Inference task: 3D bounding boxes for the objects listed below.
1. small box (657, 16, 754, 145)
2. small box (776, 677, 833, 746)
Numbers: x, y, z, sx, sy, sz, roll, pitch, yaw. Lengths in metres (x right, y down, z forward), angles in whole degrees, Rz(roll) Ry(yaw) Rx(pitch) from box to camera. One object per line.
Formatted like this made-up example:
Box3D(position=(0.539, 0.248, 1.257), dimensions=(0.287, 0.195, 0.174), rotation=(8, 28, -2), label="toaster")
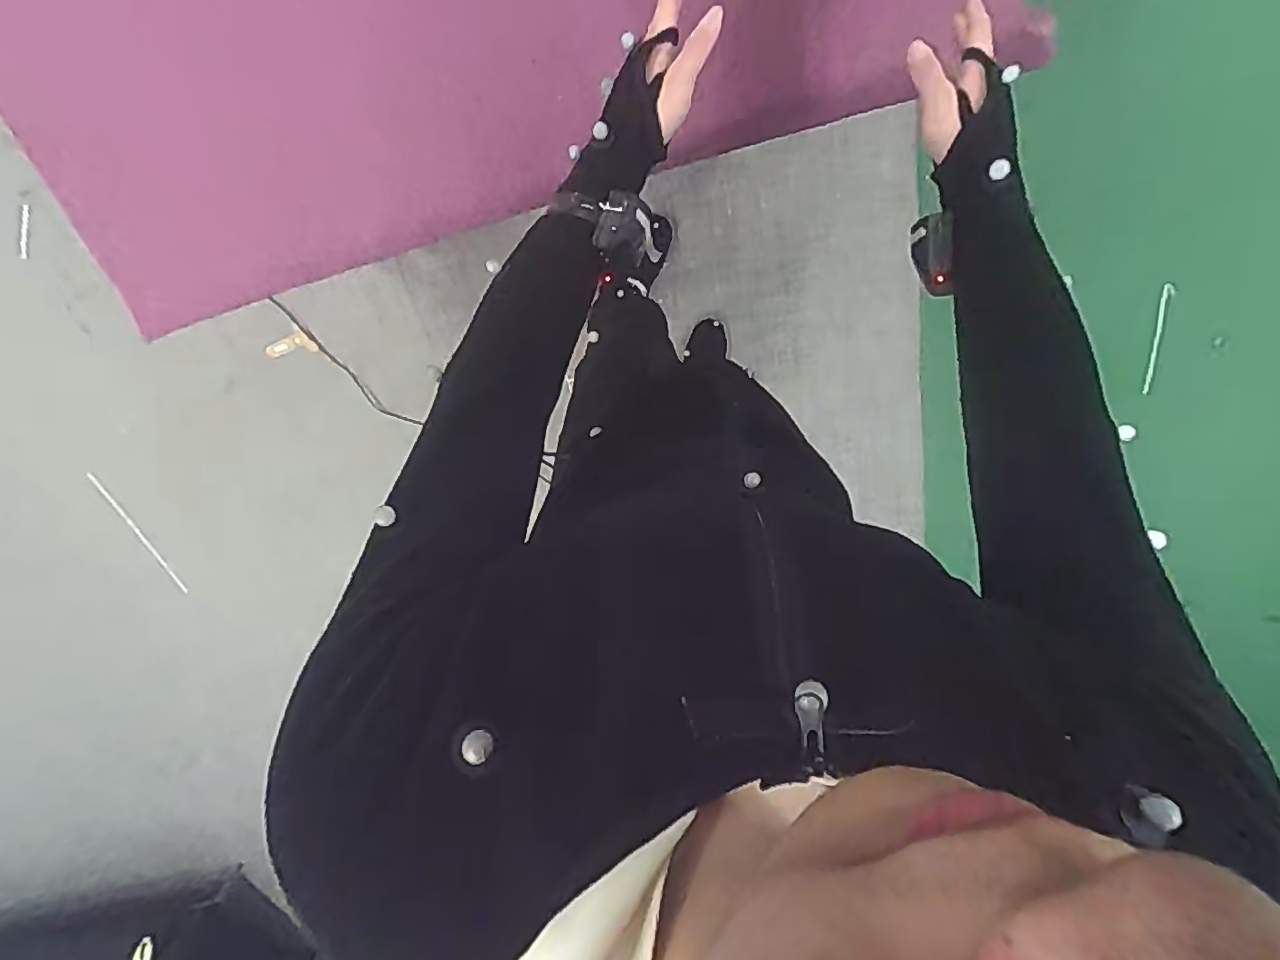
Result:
Box3D(position=(0.139, -0.851, 1.175), dimensions=(0.168, 0.176, 0.179), rotation=(-17, 115, 7), label="small box")
Box3D(position=(0.625, 0.875, 2.061), dimensions=(0.168, 0.176, 0.179), rotation=(-11, 116, 5), label="small box")
